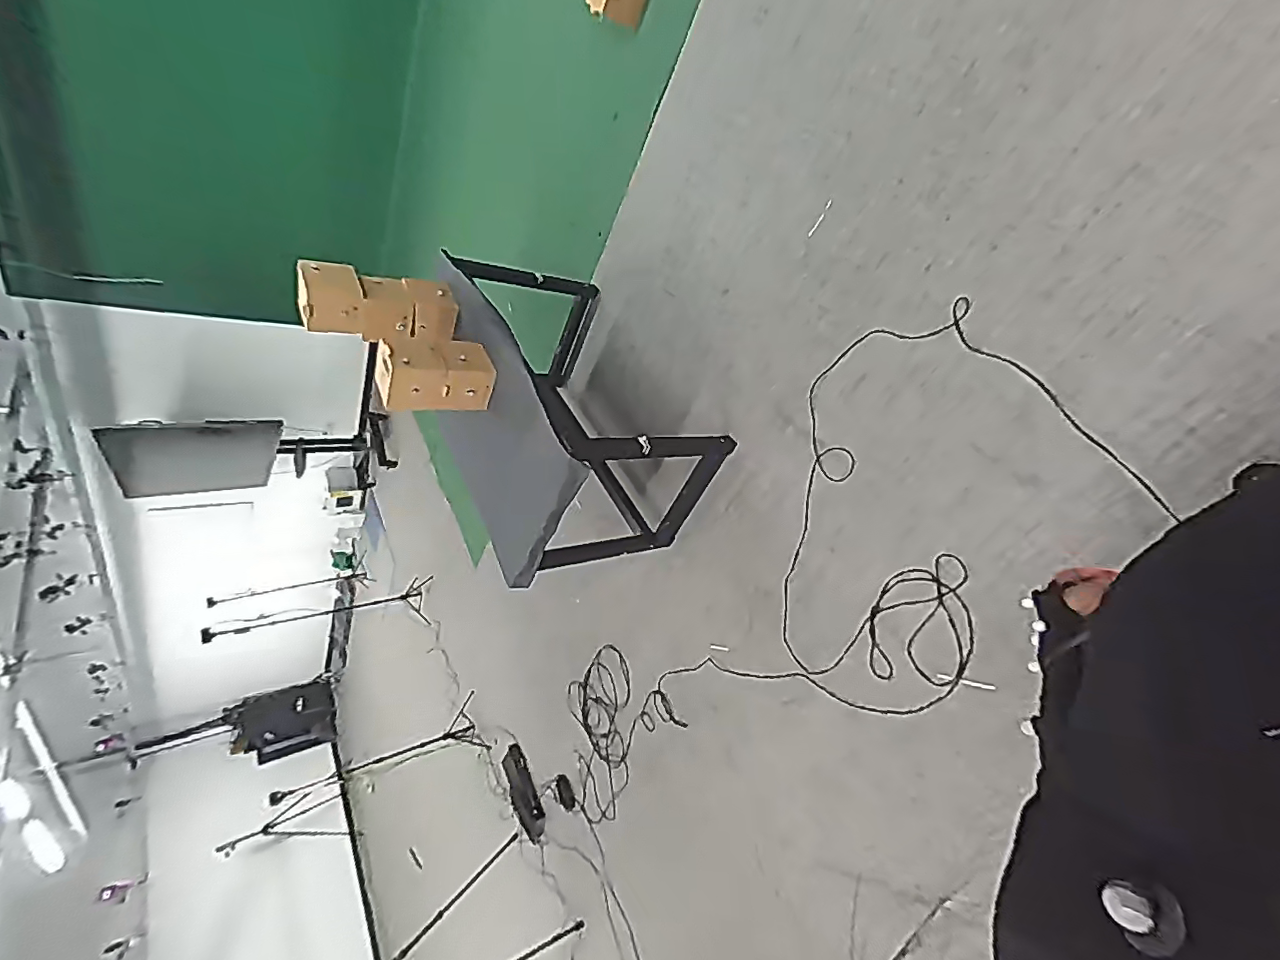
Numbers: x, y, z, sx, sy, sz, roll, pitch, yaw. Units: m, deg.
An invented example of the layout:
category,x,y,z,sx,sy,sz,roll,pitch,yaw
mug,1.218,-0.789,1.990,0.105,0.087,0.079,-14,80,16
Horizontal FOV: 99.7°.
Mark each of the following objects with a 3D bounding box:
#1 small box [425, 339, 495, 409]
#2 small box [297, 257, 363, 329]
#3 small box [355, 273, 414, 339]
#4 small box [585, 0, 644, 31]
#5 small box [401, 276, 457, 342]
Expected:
category,x,y,z,sx,sy,sz,roll,pitch,yaw
small box,-0.613,-0.363,1.850,0.179,0.176,0.168,56,133,30
small box,-1.062,-0.631,1.846,0.179,0.176,0.168,57,136,29
small box,-0.934,-0.623,1.953,0.179,0.176,0.168,52,134,32
small box,-0.092,-1.997,2.207,0.168,0.176,0.179,58,133,29
small box,-0.813,-0.645,2.058,0.168,0.176,0.179,59,135,27
